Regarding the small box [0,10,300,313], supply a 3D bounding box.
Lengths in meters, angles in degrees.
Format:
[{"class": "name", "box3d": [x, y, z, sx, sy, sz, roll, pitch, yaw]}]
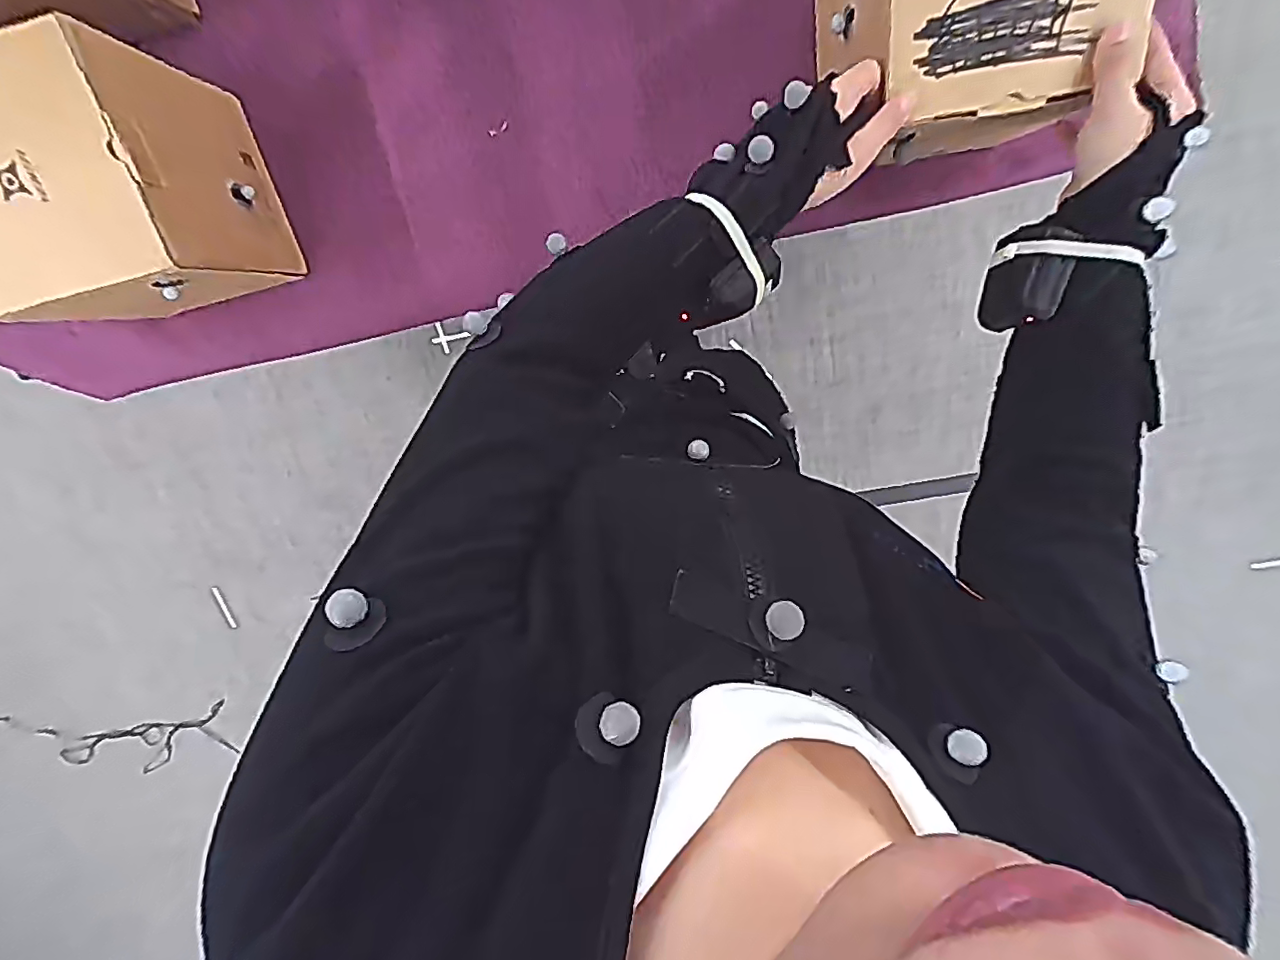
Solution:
[{"class": "small box", "box3d": [-0.450, -0.246, 0.469, 0.179, 0.176, 0.168, -14, 108, 5]}]
